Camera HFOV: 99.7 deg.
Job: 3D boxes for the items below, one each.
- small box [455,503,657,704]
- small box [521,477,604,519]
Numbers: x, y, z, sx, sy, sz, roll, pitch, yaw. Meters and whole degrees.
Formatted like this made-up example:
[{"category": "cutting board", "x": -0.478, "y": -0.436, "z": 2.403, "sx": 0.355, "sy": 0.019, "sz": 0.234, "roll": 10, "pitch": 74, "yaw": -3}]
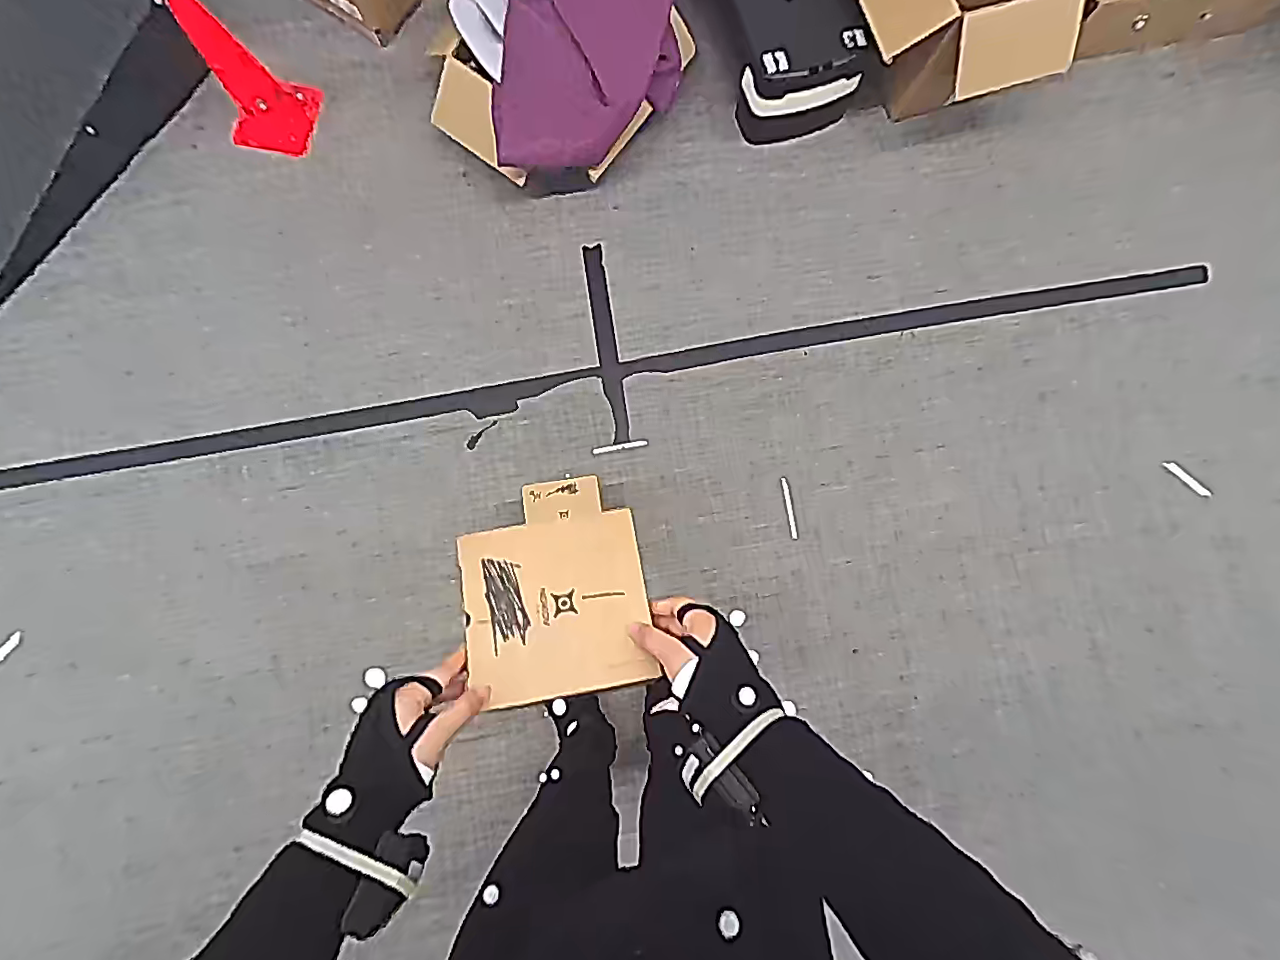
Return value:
[{"category": "small box", "x": -0.083, "y": 0.139, "z": 0.578, "sx": 0.179, "sy": 0.176, "sz": 0.168, "roll": -9, "pitch": 70, "yaw": -5}, {"category": "small box", "x": -0.164, "y": 0.095, "z": 1.224, "sx": 0.168, "sy": 0.176, "sz": 0.179, "roll": -8, "pitch": 84, "yaw": -2}]
